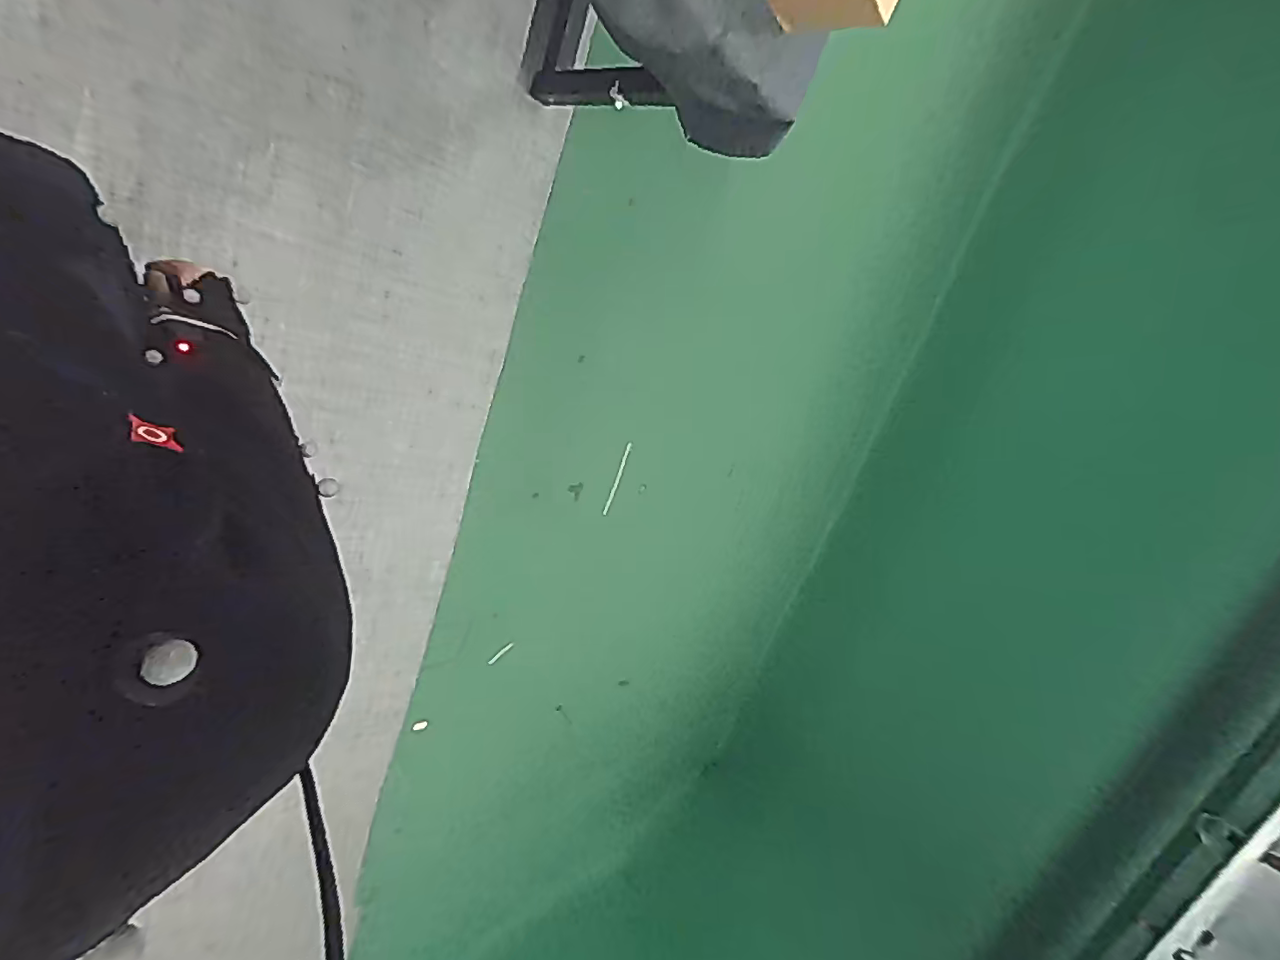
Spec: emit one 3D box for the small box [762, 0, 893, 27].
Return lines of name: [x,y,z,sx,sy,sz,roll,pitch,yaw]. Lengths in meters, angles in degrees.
small box: [0.247,-0.724,0.693,0.179,0.176,0.168,9,109,-52]
